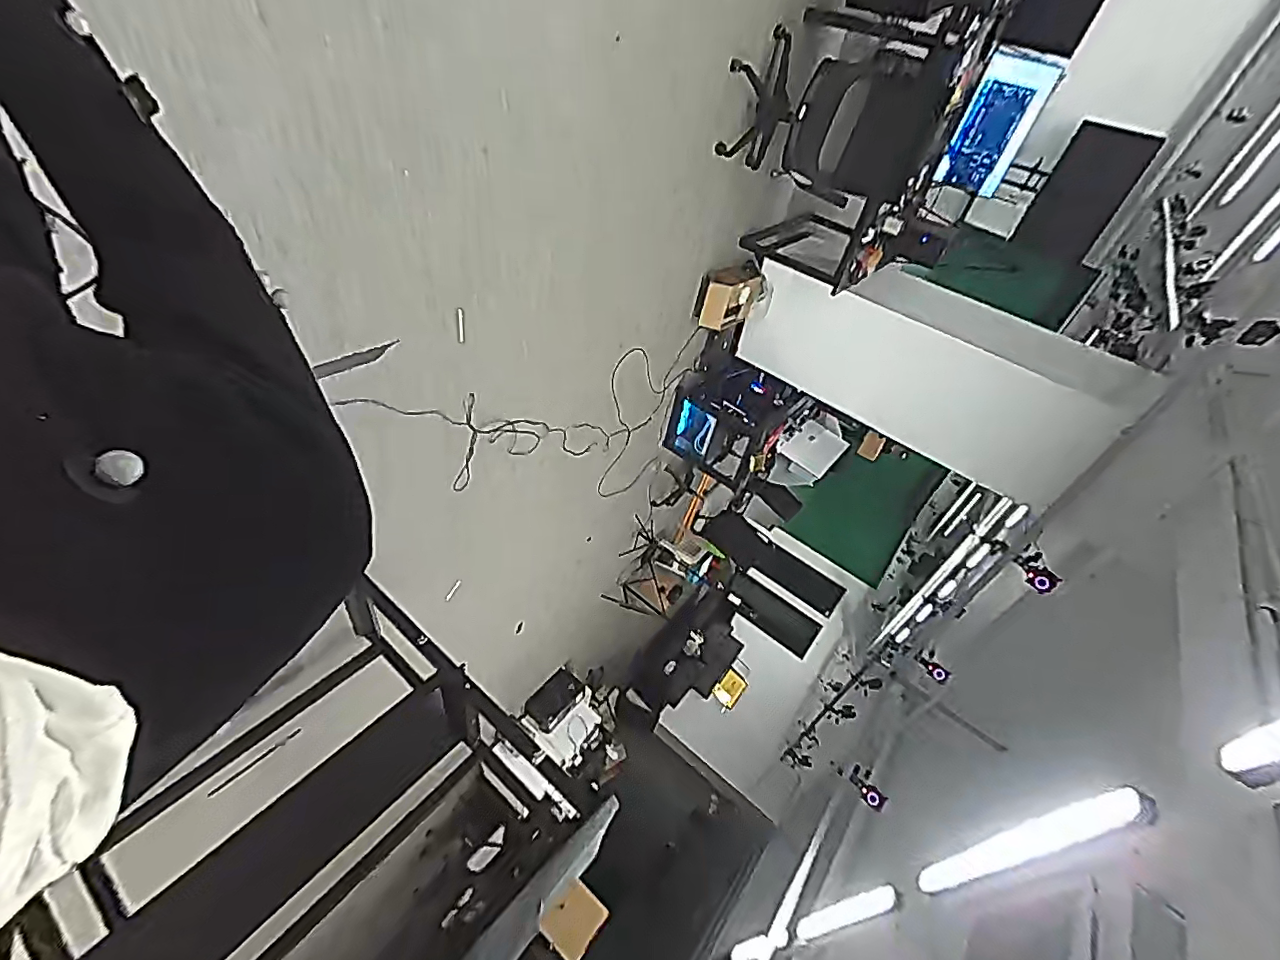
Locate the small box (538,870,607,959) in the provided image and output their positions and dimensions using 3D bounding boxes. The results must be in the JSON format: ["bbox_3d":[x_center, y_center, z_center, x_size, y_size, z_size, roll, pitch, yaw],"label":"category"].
[{"bbox_3d":[-0.241,1.525,1.892,0.179,0.176,0.168,-38,152,-38],"label":"small box"}]
